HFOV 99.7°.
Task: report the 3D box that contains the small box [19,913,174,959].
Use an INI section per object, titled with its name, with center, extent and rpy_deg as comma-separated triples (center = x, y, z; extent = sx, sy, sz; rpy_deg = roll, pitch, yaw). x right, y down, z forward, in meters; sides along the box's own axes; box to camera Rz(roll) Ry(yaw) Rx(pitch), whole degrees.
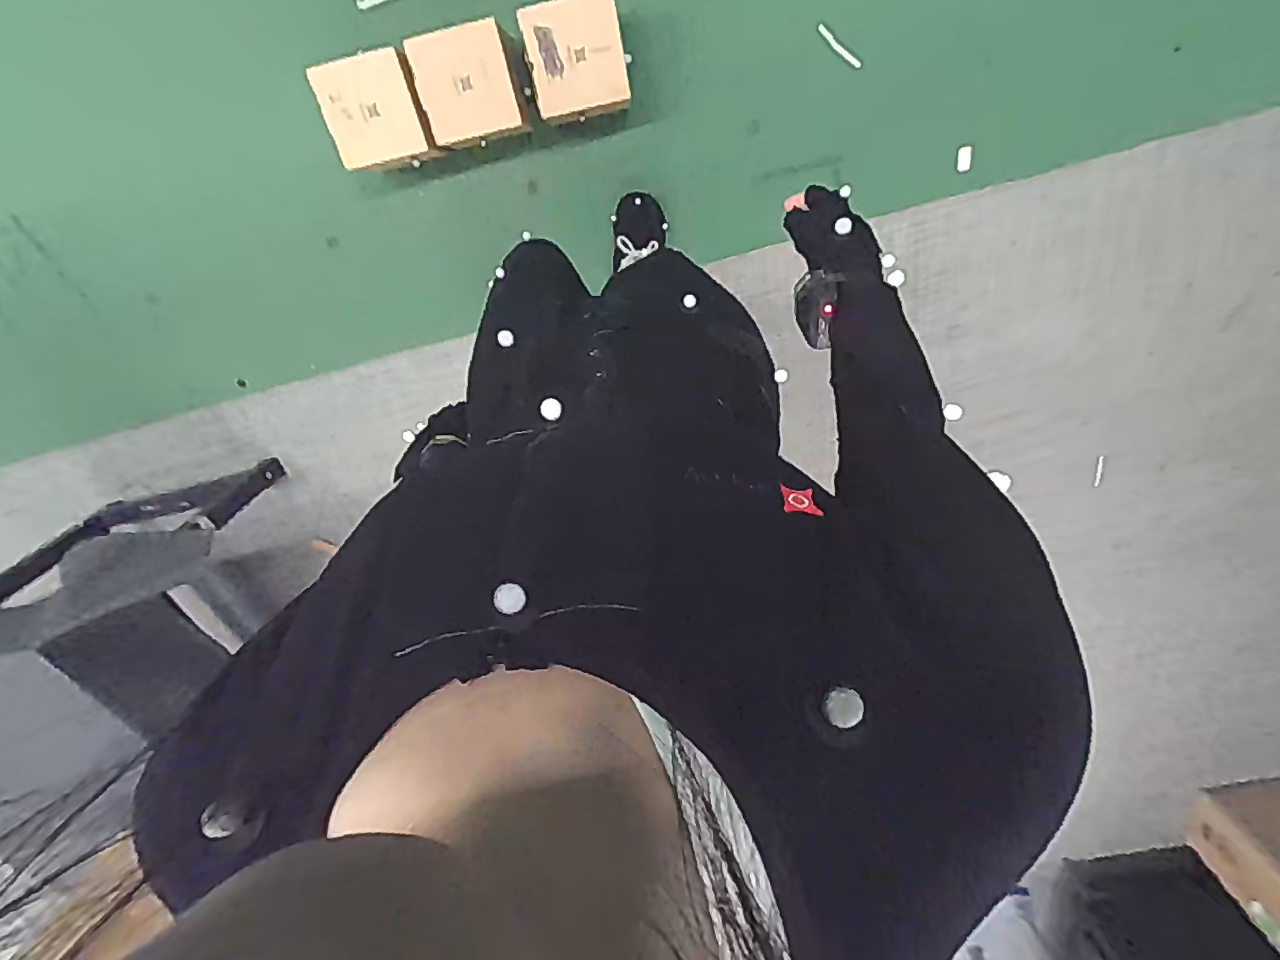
[small box]
center = -1.045, 0.939, 1.005
extent = 0.168, 0.176, 0.179
rpy_deg = -15, 119, 7
